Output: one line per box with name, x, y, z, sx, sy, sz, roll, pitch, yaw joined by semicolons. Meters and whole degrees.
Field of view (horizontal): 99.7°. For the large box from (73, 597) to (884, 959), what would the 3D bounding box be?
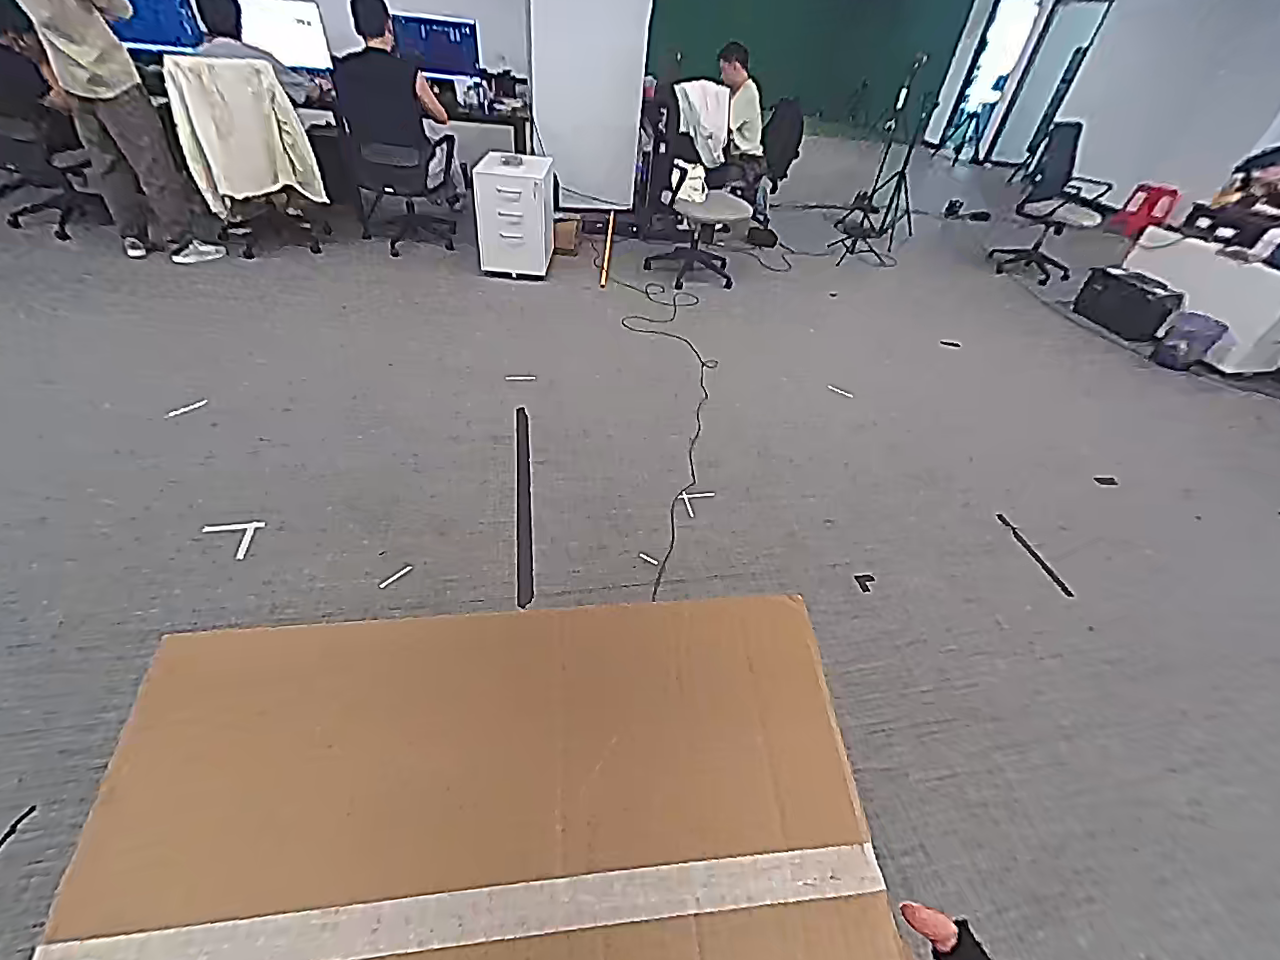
large box;-0.086;0.304;0.402;0.408;0.320;0.320;-2;56;-6
